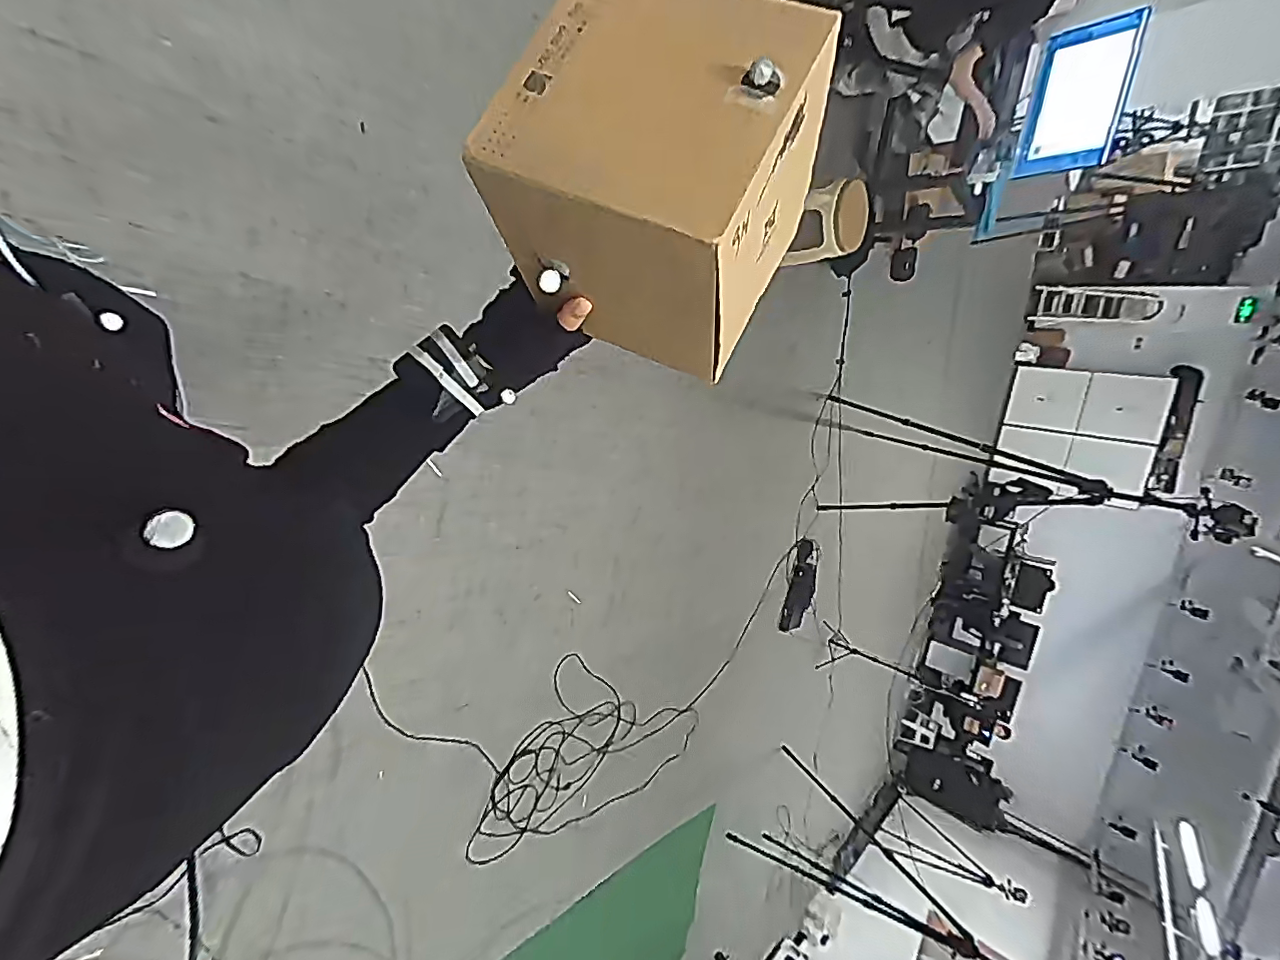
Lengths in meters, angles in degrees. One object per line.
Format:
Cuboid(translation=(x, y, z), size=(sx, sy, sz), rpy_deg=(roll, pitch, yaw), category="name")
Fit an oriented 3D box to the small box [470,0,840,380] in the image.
Cuboid(translation=(0.012, -0.205, 0.390), size=(0.168, 0.176, 0.179), rpy_deg=(-63, 169, -10), category="small box")
